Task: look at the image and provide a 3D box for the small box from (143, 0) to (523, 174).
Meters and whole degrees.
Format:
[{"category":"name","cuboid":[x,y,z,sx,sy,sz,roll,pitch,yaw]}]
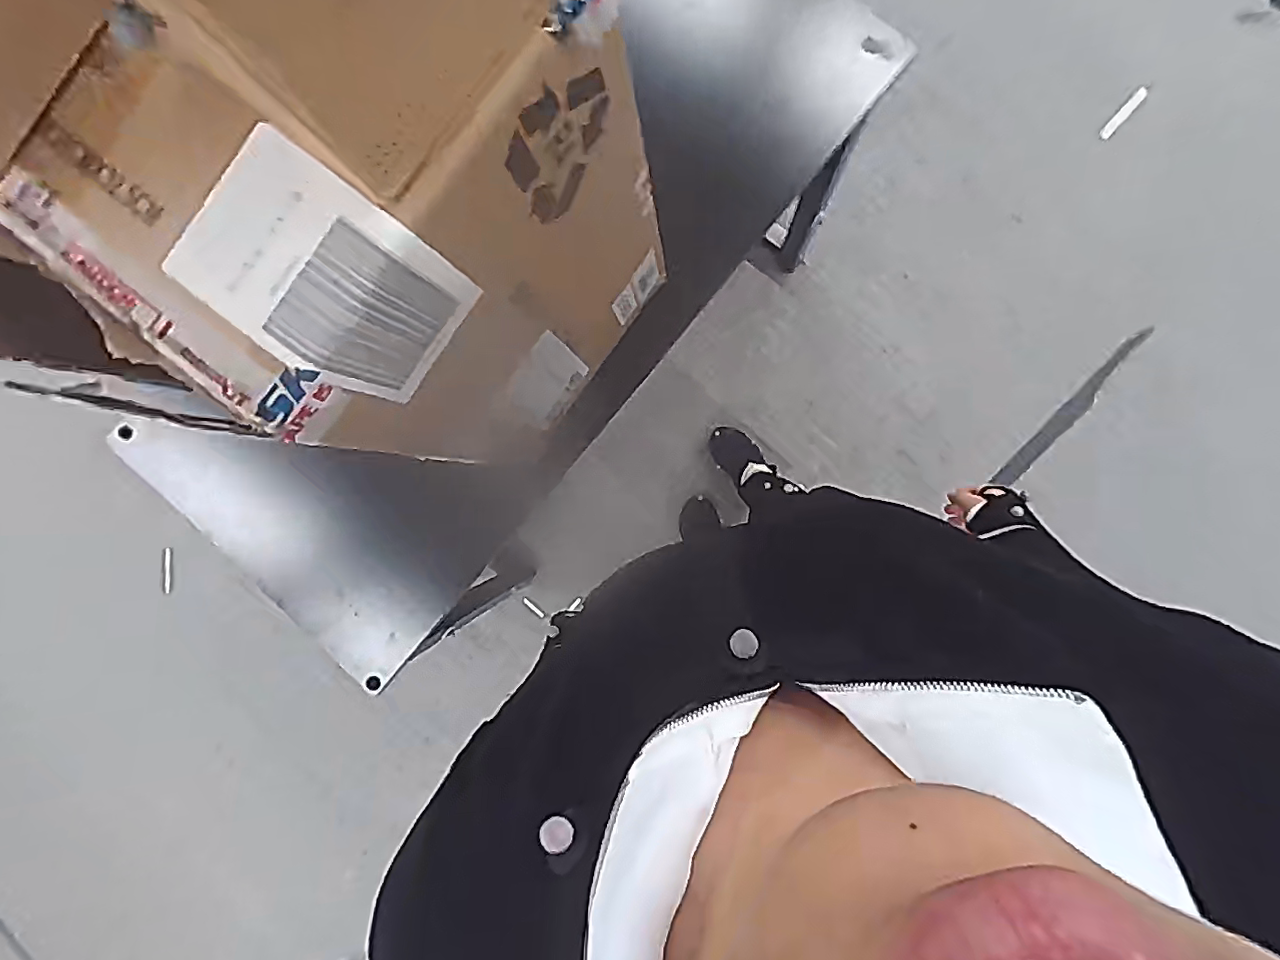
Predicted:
[{"category":"small box","cuboid":[-0.159,-0.276,0.223,0.168,0.176,0.179,37,94,3]}]
